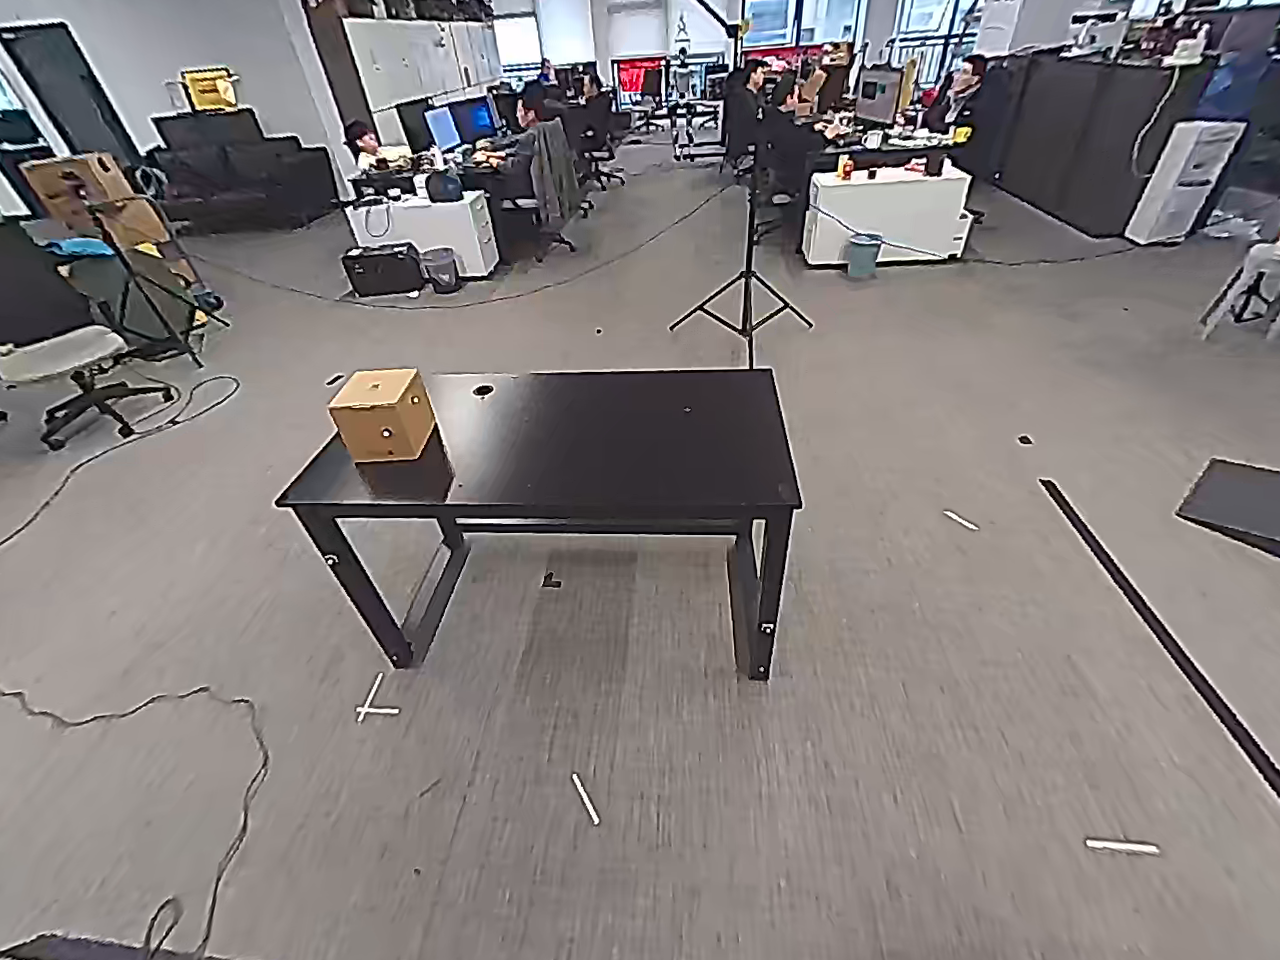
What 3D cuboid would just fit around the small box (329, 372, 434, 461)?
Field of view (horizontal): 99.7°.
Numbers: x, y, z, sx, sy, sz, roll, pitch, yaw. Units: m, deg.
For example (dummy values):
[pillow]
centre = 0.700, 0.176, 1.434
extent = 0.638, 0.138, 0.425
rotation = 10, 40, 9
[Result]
[small box]
centre = -0.646, -0.158, 1.380
extent = 0.168, 0.176, 0.179
rotation = -2, 38, 1
